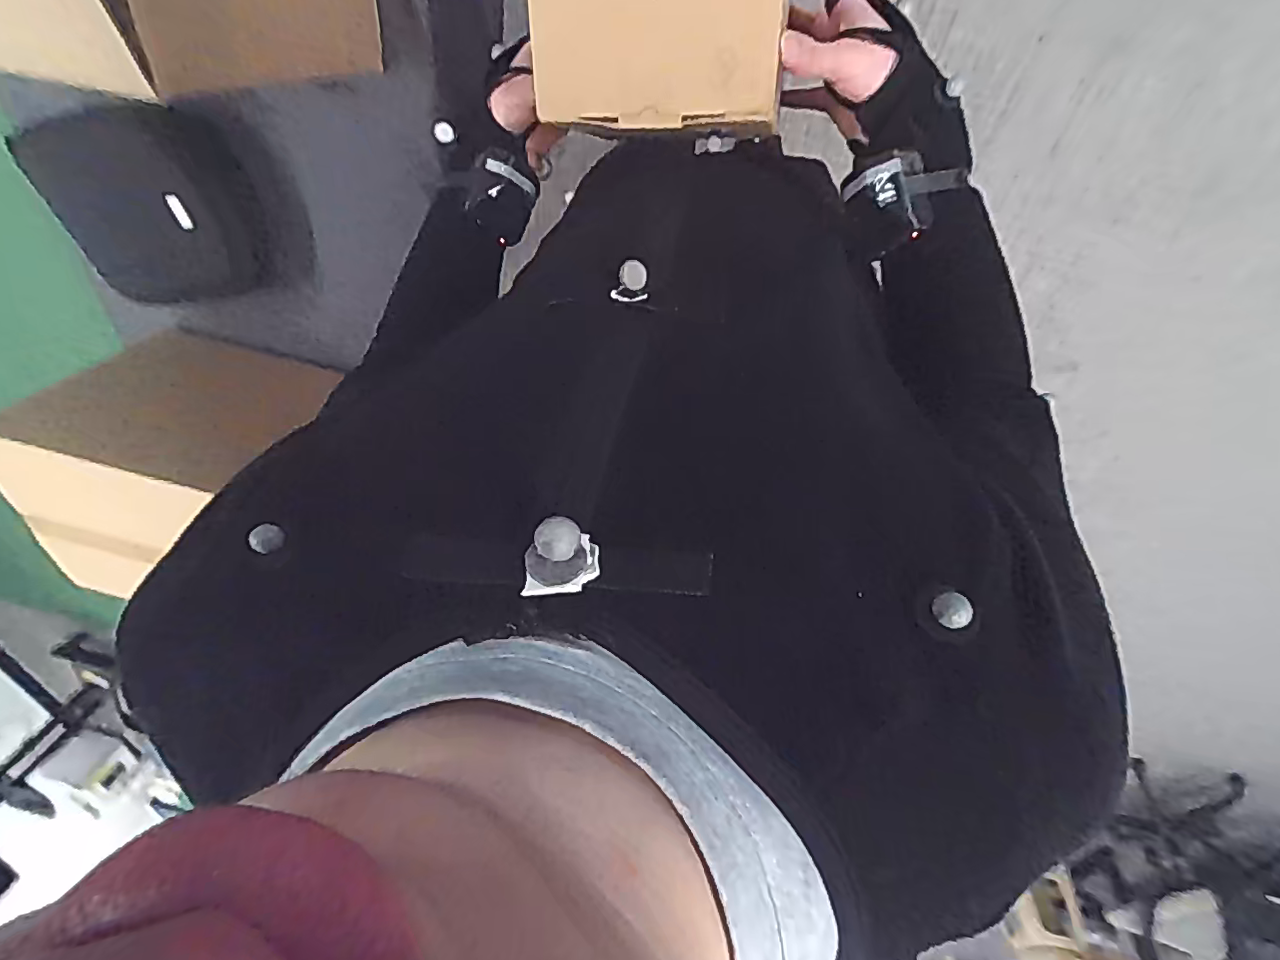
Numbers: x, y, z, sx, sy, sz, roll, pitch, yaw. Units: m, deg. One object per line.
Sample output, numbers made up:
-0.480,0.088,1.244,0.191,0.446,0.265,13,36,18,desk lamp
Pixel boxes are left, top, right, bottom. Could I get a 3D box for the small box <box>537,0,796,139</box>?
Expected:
0.030,-0.360,0.401,0.168,0.176,0.179,6,118,11,small box
